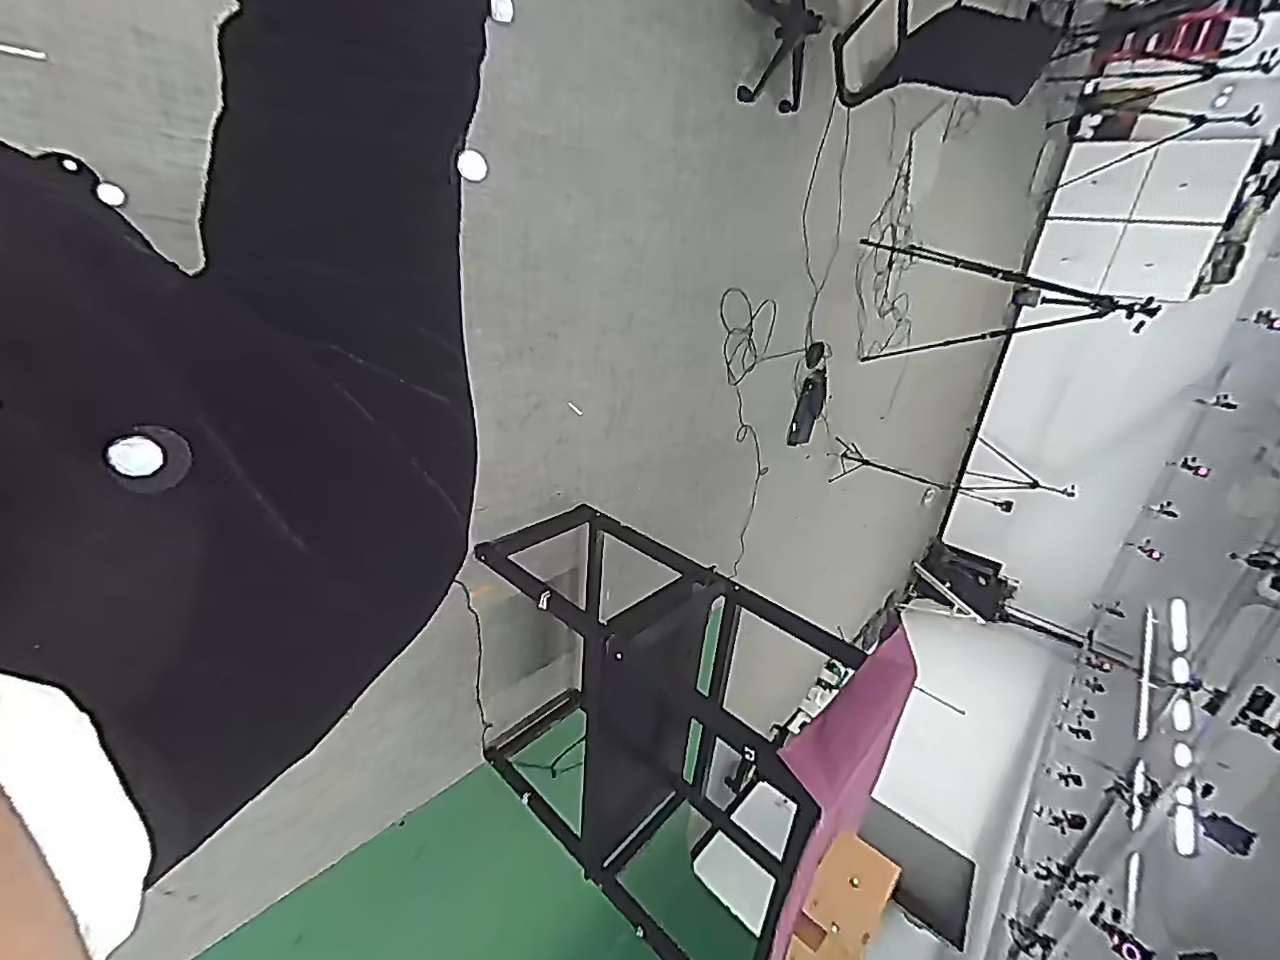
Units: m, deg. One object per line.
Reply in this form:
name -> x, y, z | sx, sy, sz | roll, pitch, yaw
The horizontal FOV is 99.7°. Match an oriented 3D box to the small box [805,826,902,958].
small box -> 0.557, 1.071, 1.420 | 0.179, 0.176, 0.168 | -19, 124, -47

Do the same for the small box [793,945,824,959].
small box -> 0.516, 1.577, 1.638 | 0.168, 0.176, 0.179 | -20, 124, -46
